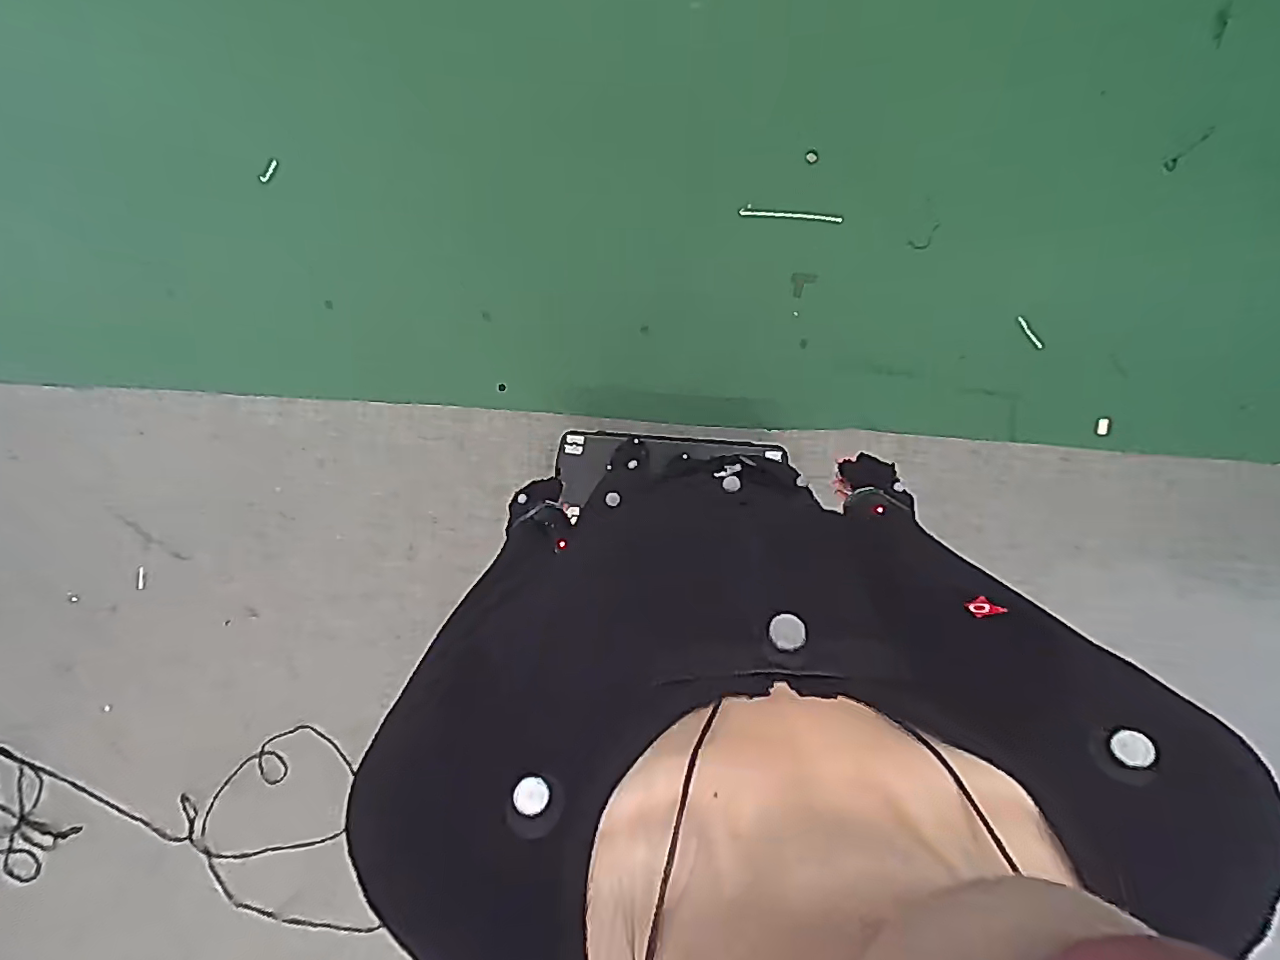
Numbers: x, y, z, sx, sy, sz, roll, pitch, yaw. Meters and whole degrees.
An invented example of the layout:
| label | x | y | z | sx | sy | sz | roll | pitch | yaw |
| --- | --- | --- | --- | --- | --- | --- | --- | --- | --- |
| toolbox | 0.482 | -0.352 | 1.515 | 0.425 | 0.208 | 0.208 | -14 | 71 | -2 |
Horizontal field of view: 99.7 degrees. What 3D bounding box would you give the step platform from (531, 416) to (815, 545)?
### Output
| label | x | y | z | sx | sy | sz | roll | pitch | yaw |
| --- | --- | --- | --- | --- | --- | --- | --- | --- | --- |
| step platform | 0.078 | -0.003 | 1.391 | 0.684 | 0.204 | 0.286 | 3 | 94 | 1 |
